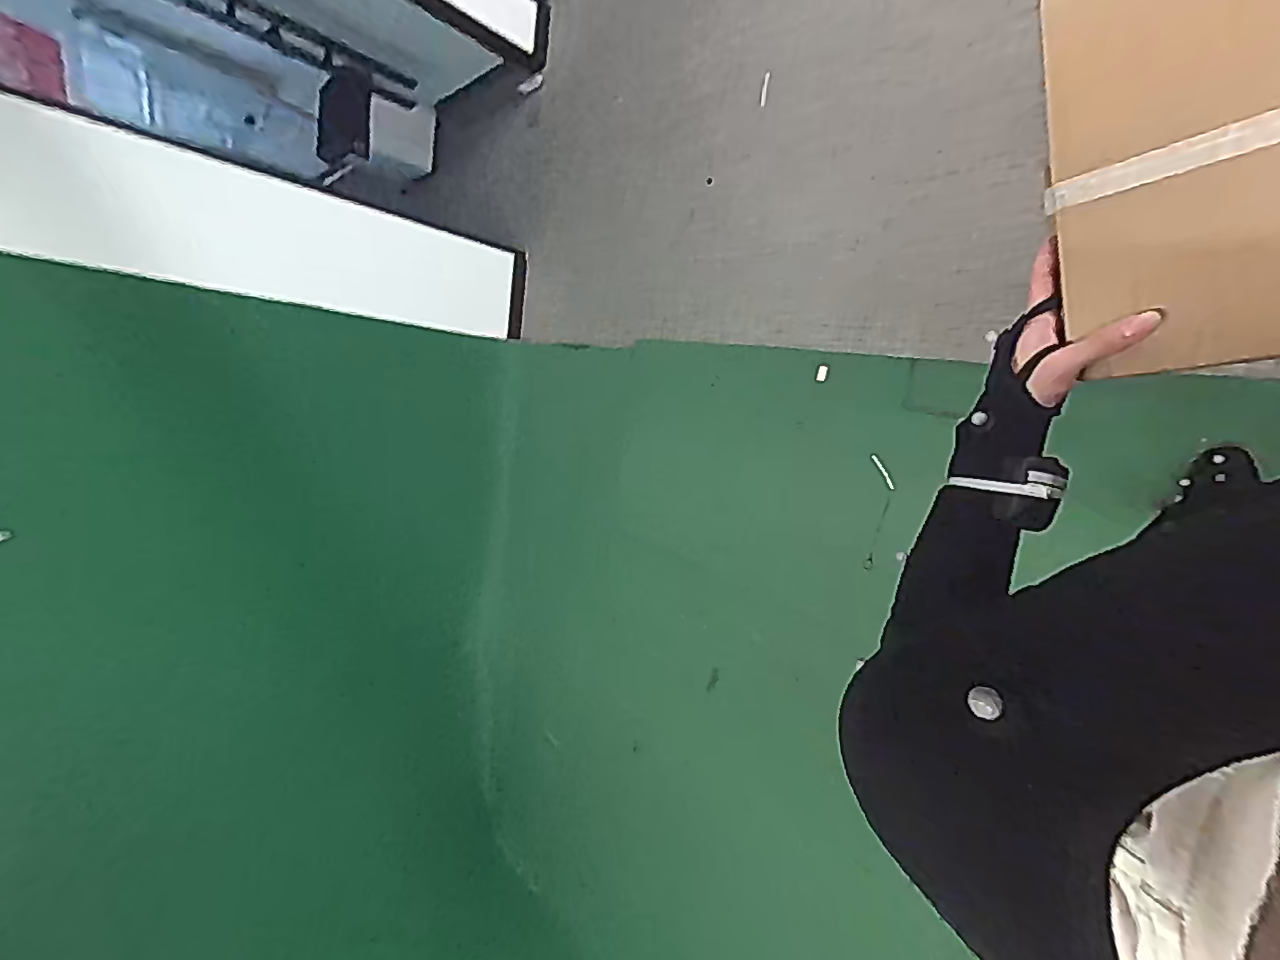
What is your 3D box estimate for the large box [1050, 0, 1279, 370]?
[{"bbox_3d":[0.598,-0.285,0.416,0.408,0.320,0.320,-3,102,45],"label":"large box"}]
